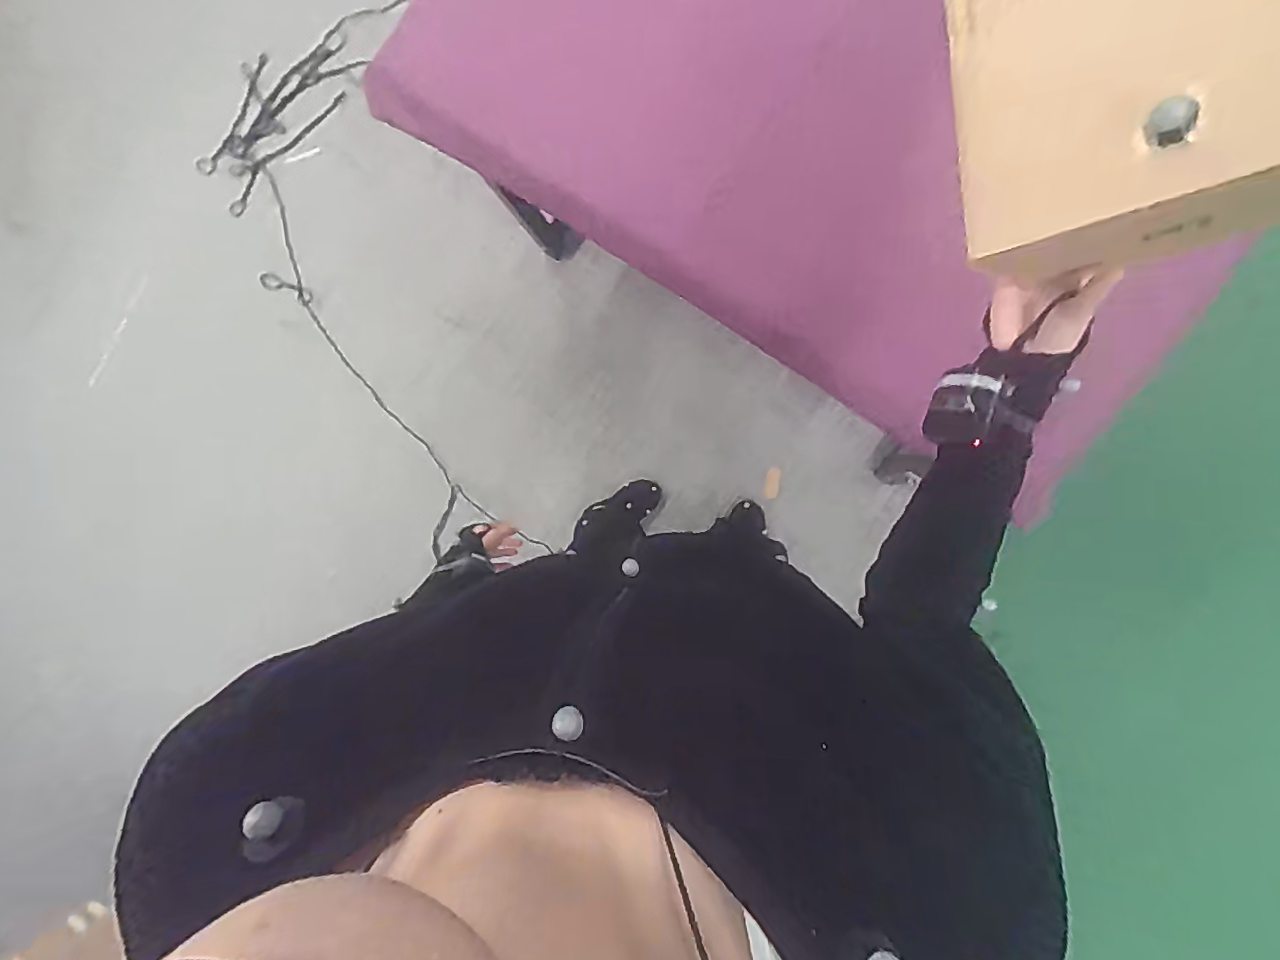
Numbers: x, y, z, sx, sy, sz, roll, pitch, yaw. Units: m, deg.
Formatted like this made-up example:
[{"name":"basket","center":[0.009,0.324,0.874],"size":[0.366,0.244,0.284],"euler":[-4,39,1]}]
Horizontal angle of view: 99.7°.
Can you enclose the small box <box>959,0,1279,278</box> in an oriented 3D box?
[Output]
[{"name":"small box","center":[0.307,-0.235,0.315],"size":[0.179,0.168,0.176],"euler":[-3,97,51]}]
